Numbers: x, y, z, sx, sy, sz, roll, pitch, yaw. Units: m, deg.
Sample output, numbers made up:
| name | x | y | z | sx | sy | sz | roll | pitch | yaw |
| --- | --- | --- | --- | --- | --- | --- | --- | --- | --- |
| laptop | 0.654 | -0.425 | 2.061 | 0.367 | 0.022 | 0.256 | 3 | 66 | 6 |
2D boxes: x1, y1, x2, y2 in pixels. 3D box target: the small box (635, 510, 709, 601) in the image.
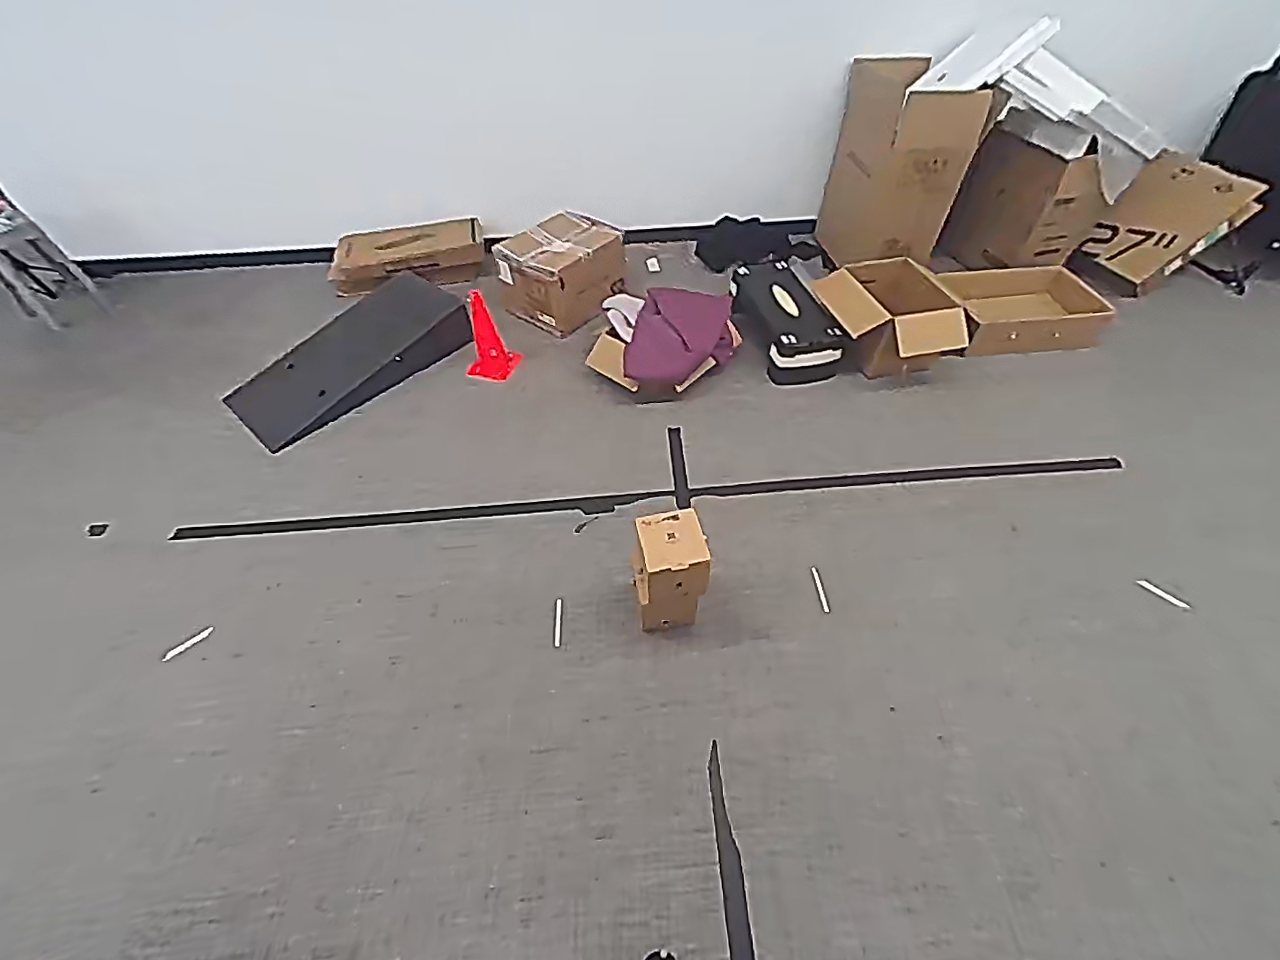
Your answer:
| name | x | y | z | sx | sy | sz | roll | pitch | yaw |
| --- | --- | --- | --- | --- | --- | --- | --- | --- | --- |
| small box | 0.084 | 0.210 | 1.454 | 0.168 | 0.176 | 0.179 | -10 | 50 | -5 |

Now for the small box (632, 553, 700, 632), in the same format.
| name | x | y | z | sx | sy | sz | roll | pitch | yaw |
| --- | --- | --- | --- | --- | --- | --- | --- | --- | --- |
| small box | 0.071 | 0.318 | 1.578 | 0.168 | 0.176 | 0.179 | -9 | 51 | -5 |
